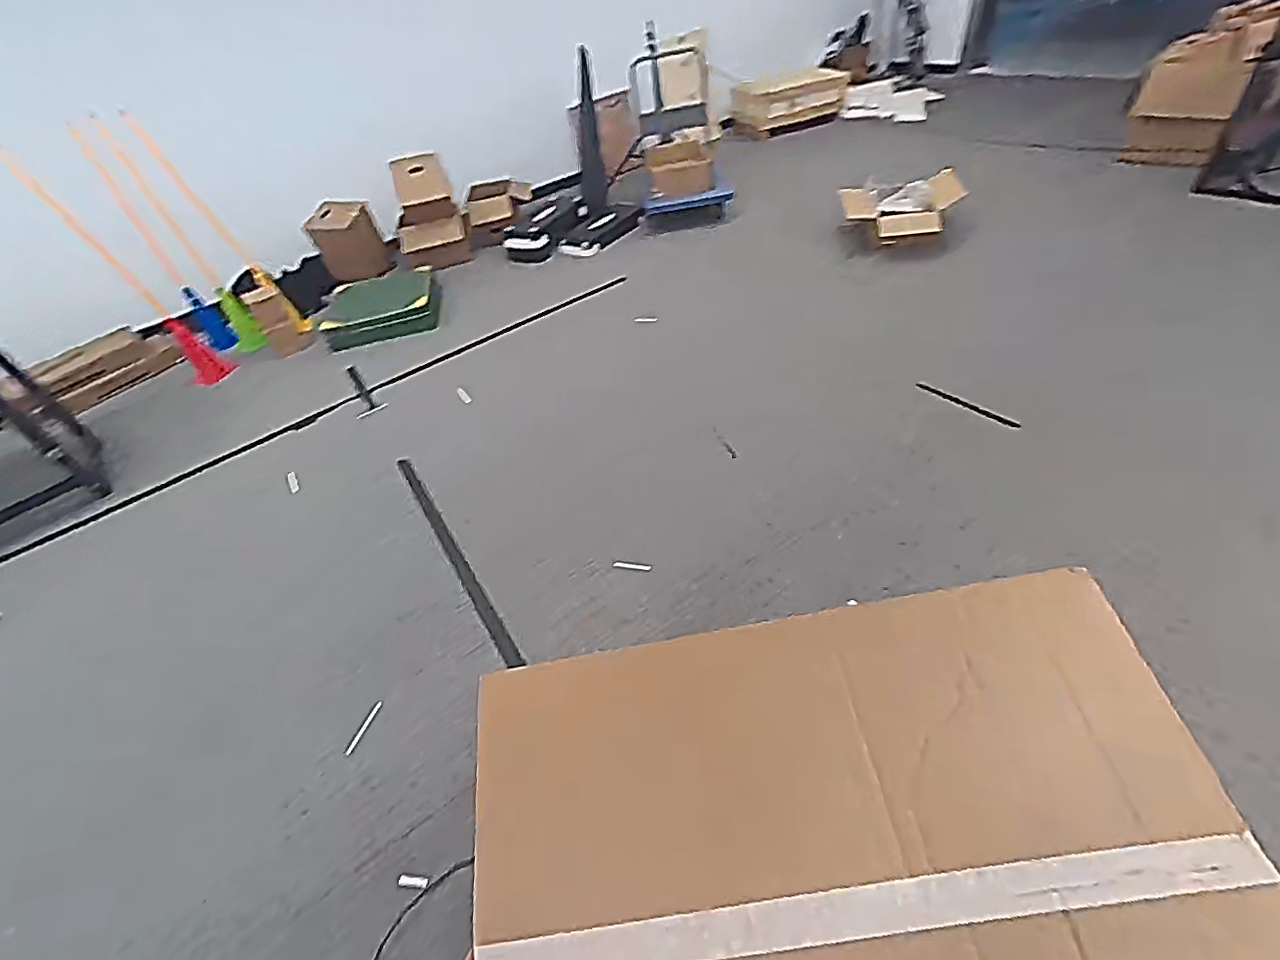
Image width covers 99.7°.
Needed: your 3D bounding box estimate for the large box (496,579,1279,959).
[{"bbox_3d":[0.139,0.311,0.411,0.408,0.320,0.320,-12,59,4],"label":"large box"}]
